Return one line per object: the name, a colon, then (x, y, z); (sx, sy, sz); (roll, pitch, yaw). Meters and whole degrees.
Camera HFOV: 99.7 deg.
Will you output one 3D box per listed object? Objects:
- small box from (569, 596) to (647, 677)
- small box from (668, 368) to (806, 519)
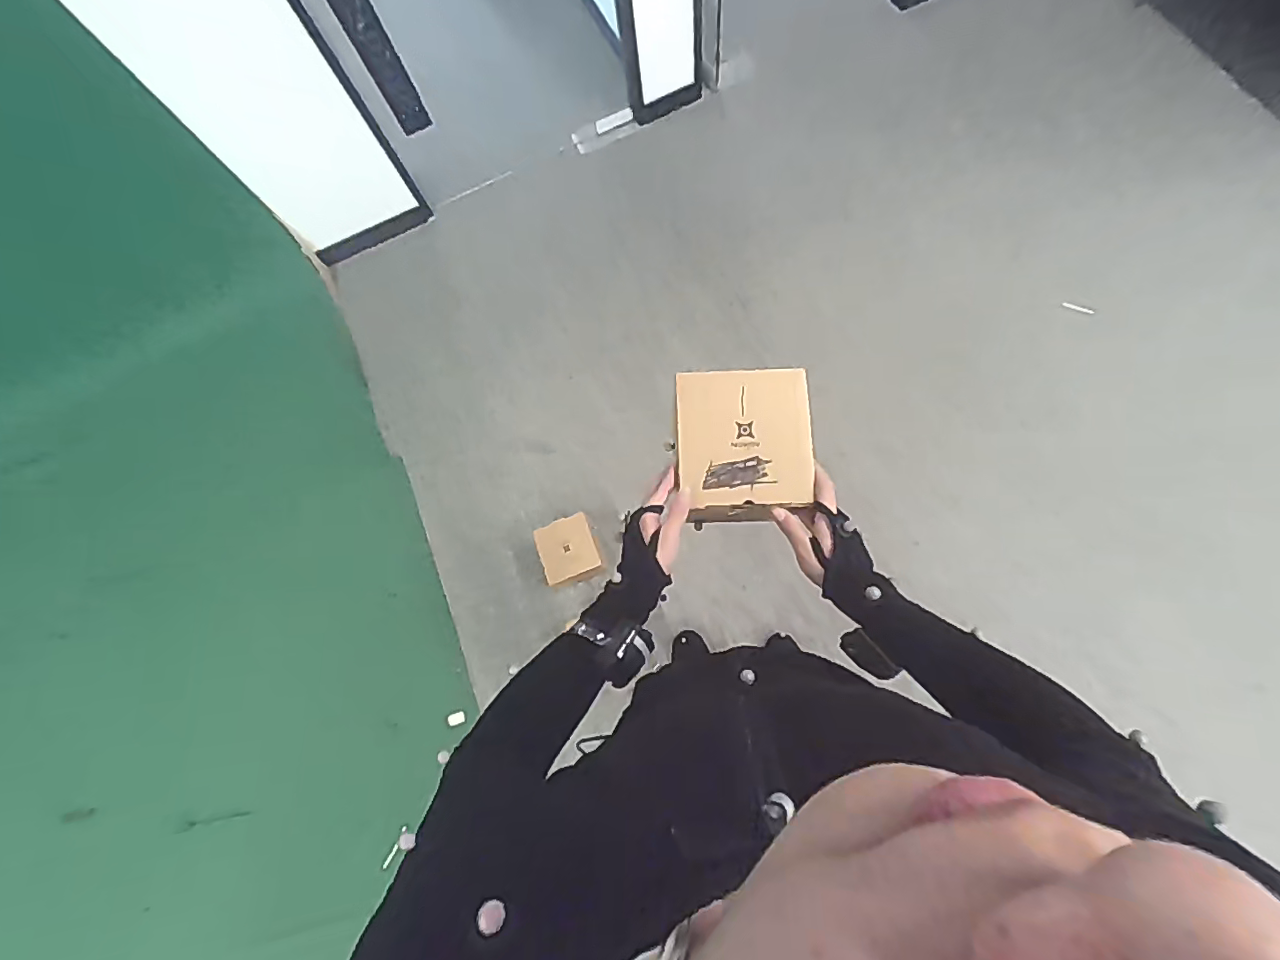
small box: (-0.088, 0.458, 1.572); (0.168, 0.176, 0.179); (-23, 71, 0)
small box: (0.122, -0.040, 0.744); (0.168, 0.176, 0.179); (-1, 78, 2)
